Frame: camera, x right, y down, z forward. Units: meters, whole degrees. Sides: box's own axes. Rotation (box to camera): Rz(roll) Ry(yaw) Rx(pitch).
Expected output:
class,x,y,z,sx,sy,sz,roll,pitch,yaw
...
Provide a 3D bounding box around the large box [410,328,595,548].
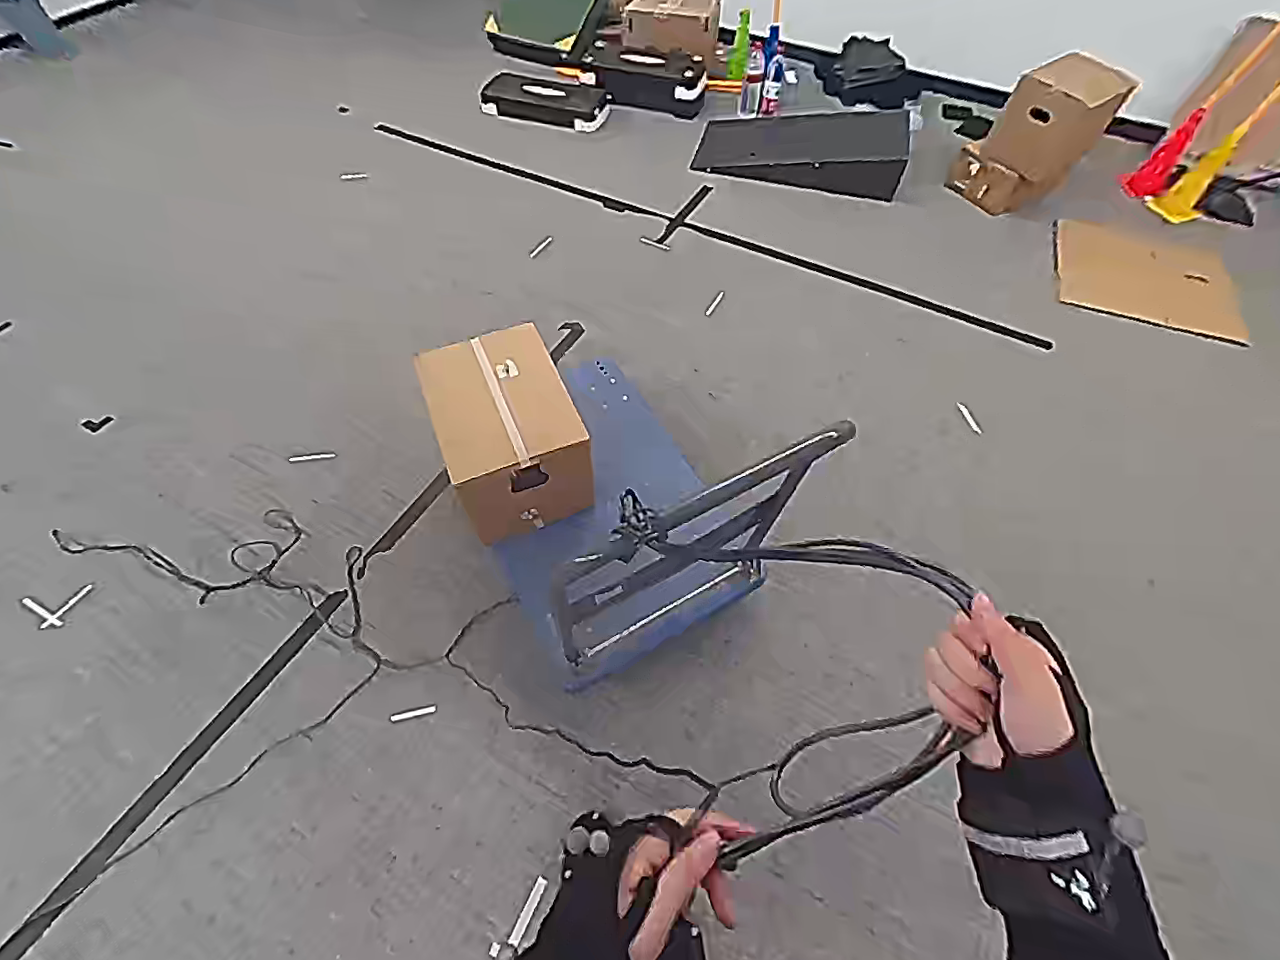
class,x,y,z,sx,sy,sz,roll,pitch,yaw
large box,-0.336,-0.105,1.374,0.320,0.320,0.408,-21,61,-15
